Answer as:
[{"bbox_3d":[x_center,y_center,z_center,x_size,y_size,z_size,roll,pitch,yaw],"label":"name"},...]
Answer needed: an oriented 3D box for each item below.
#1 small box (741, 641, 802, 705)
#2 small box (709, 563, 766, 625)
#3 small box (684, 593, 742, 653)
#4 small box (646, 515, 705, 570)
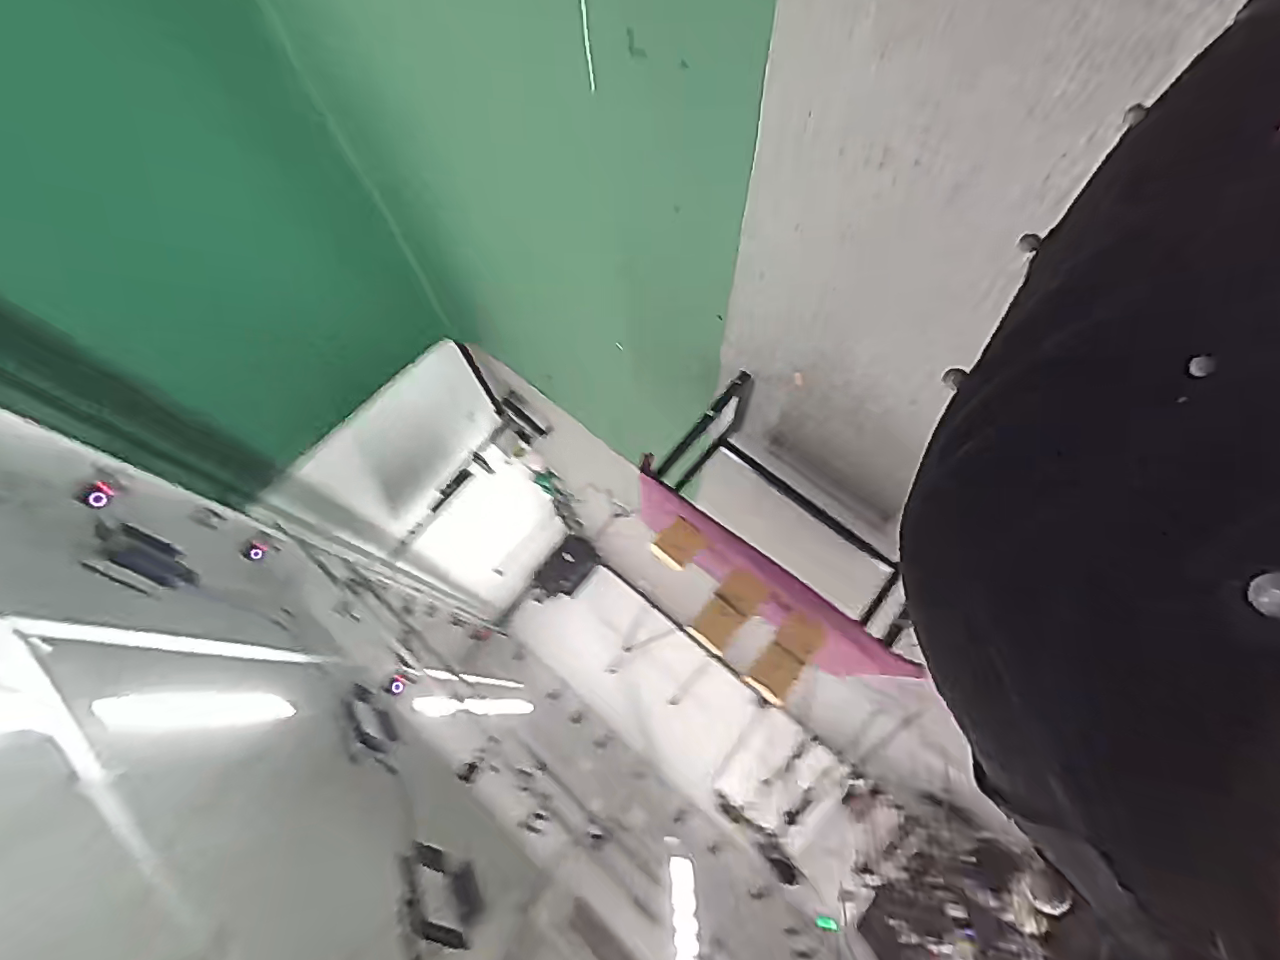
[{"bbox_3d":[0.521,0.764,2.150,0.168,0.176,0.179,37,163,22],"label":"small box"},{"bbox_3d":[0.412,0.479,2.278,0.179,0.176,0.168,37,164,21],"label":"small box"},{"bbox_3d":[0.301,0.591,2.229,0.168,0.176,0.179,39,164,14],"label":"small box"},{"bbox_3d":[0.154,0.265,2.335,0.179,0.176,0.168,39,166,5],"label":"small box"}]
